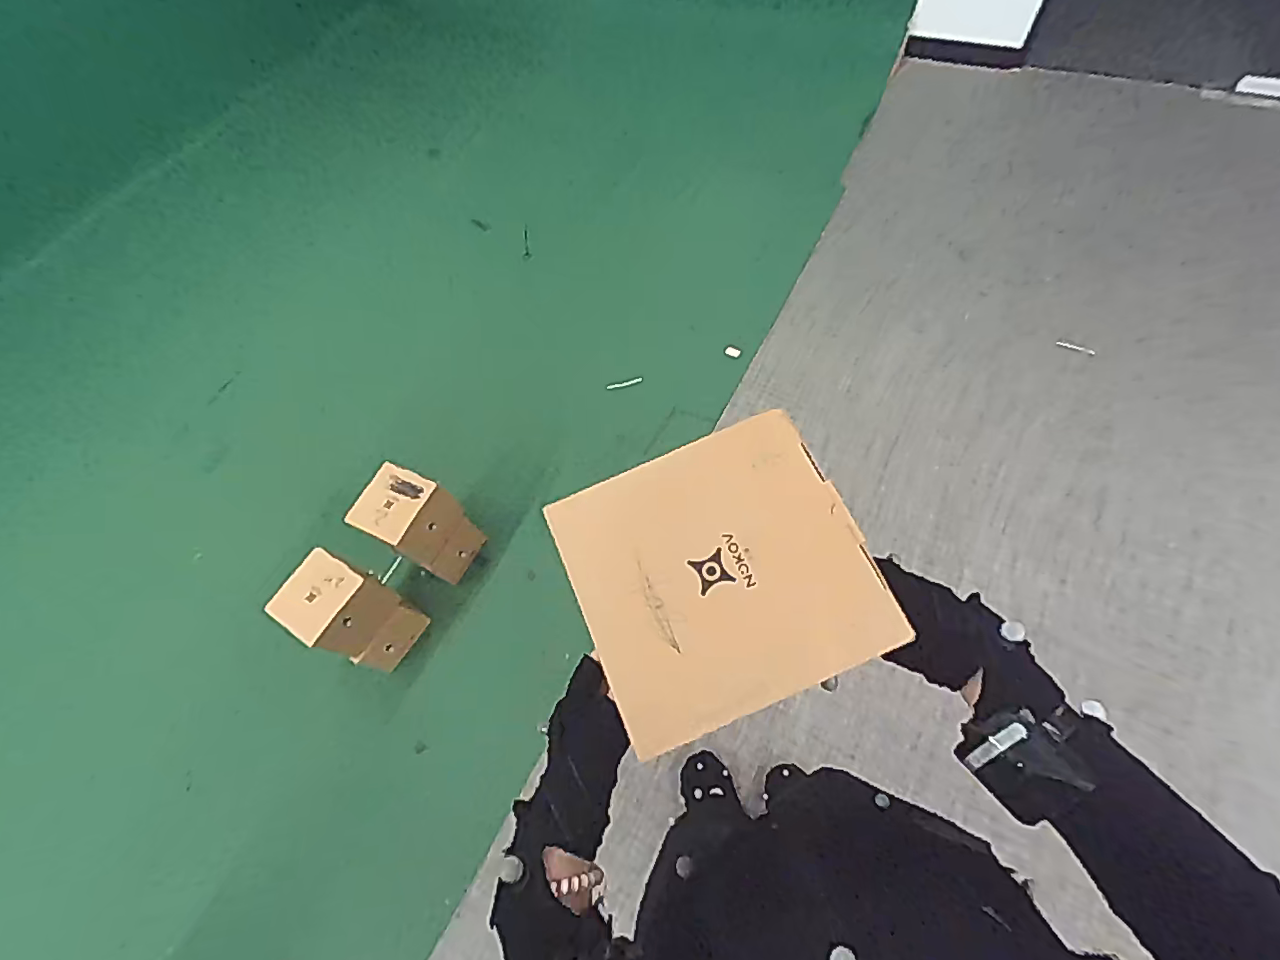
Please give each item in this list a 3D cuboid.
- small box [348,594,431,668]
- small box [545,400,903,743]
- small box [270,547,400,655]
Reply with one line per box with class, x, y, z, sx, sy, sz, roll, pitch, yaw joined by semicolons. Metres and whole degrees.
small box;-0.692;0.379;1.429;0.179;0.176;0.168;28;70;20
small box;0.052;0.072;0.409;0.179;0.176;0.168;-23;70;-2
small box;-0.715;0.294;1.289;0.168;0.176;0.179;27;70;19
